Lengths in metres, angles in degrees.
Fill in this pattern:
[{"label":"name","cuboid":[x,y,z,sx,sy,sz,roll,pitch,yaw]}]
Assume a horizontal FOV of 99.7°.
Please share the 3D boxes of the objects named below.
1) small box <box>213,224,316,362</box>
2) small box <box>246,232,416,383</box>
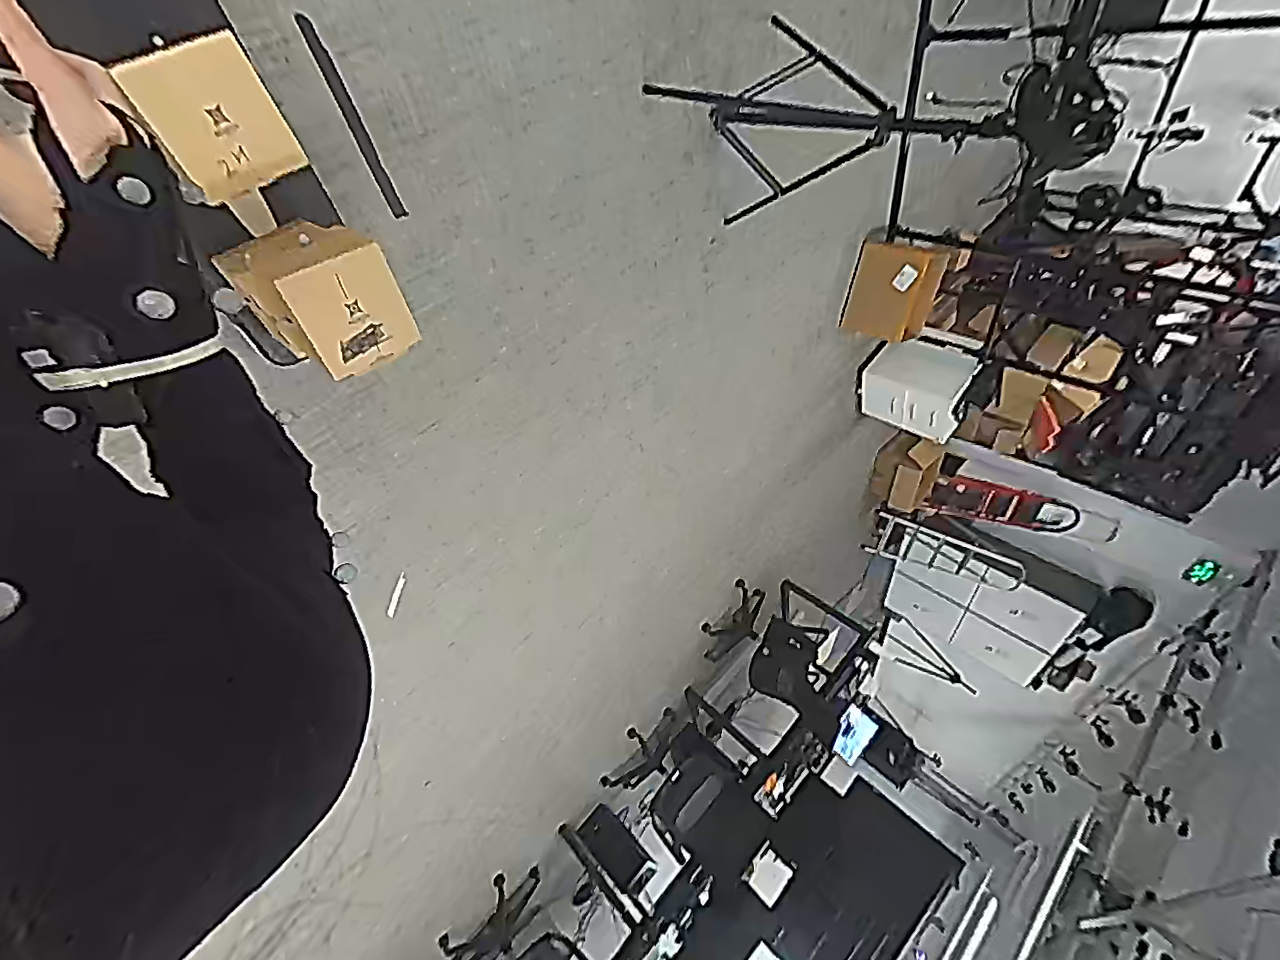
[{"label":"small box","cuboid":[-0.645,-0.356,1.012,0.179,0.176,0.168,-41,141,-22]},{"label":"small box","cuboid":[-0.521,-0.298,0.920,0.168,0.176,0.179,-38,139,-26]}]
